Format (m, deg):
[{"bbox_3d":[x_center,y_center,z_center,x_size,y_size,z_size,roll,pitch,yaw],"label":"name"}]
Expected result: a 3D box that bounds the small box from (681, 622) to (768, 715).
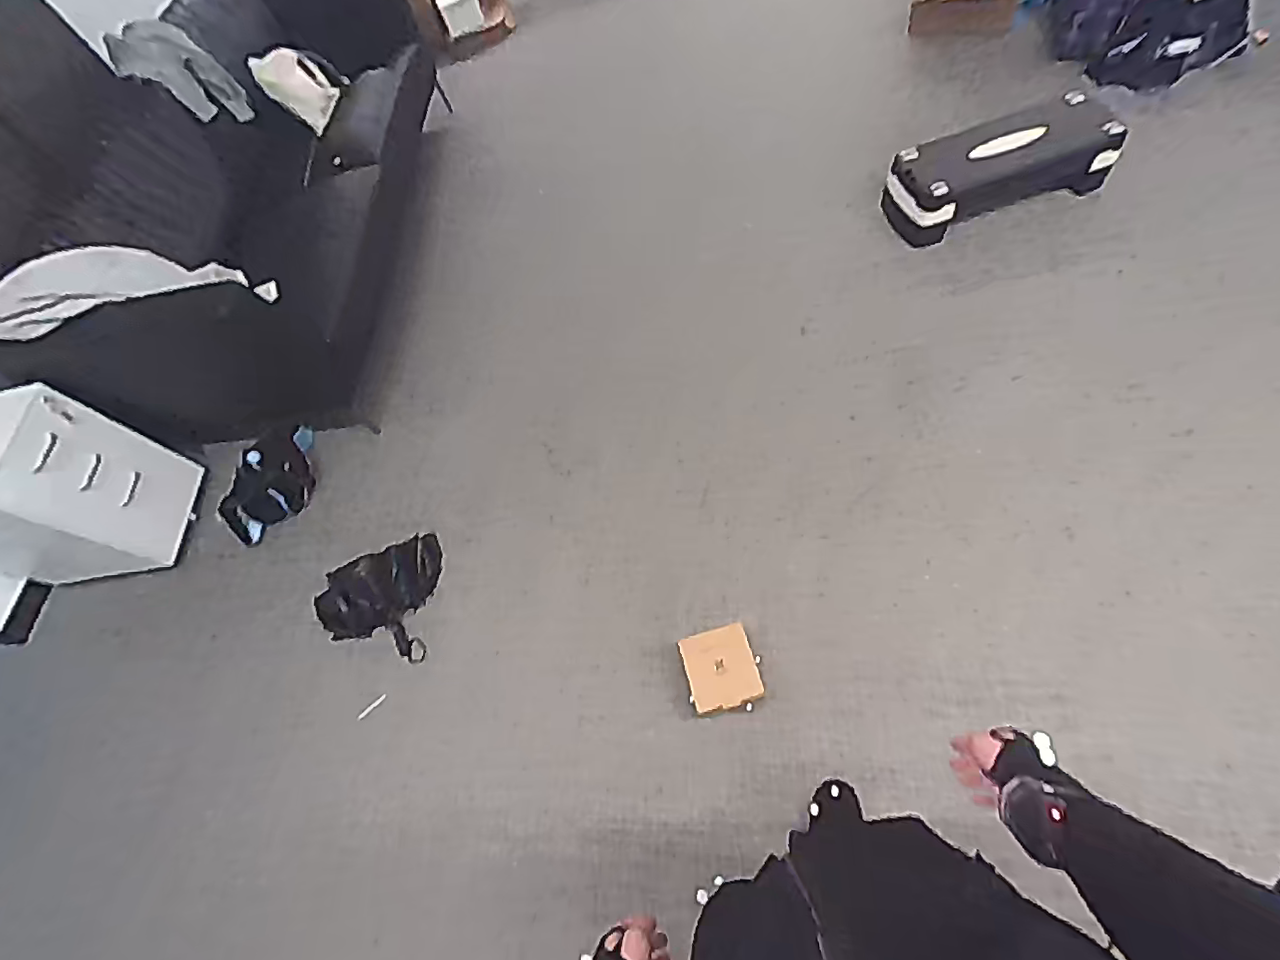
[{"bbox_3d":[0.215,0.479,1.353,0.168,0.176,0.179,-19,59,4],"label":"small box"}]
